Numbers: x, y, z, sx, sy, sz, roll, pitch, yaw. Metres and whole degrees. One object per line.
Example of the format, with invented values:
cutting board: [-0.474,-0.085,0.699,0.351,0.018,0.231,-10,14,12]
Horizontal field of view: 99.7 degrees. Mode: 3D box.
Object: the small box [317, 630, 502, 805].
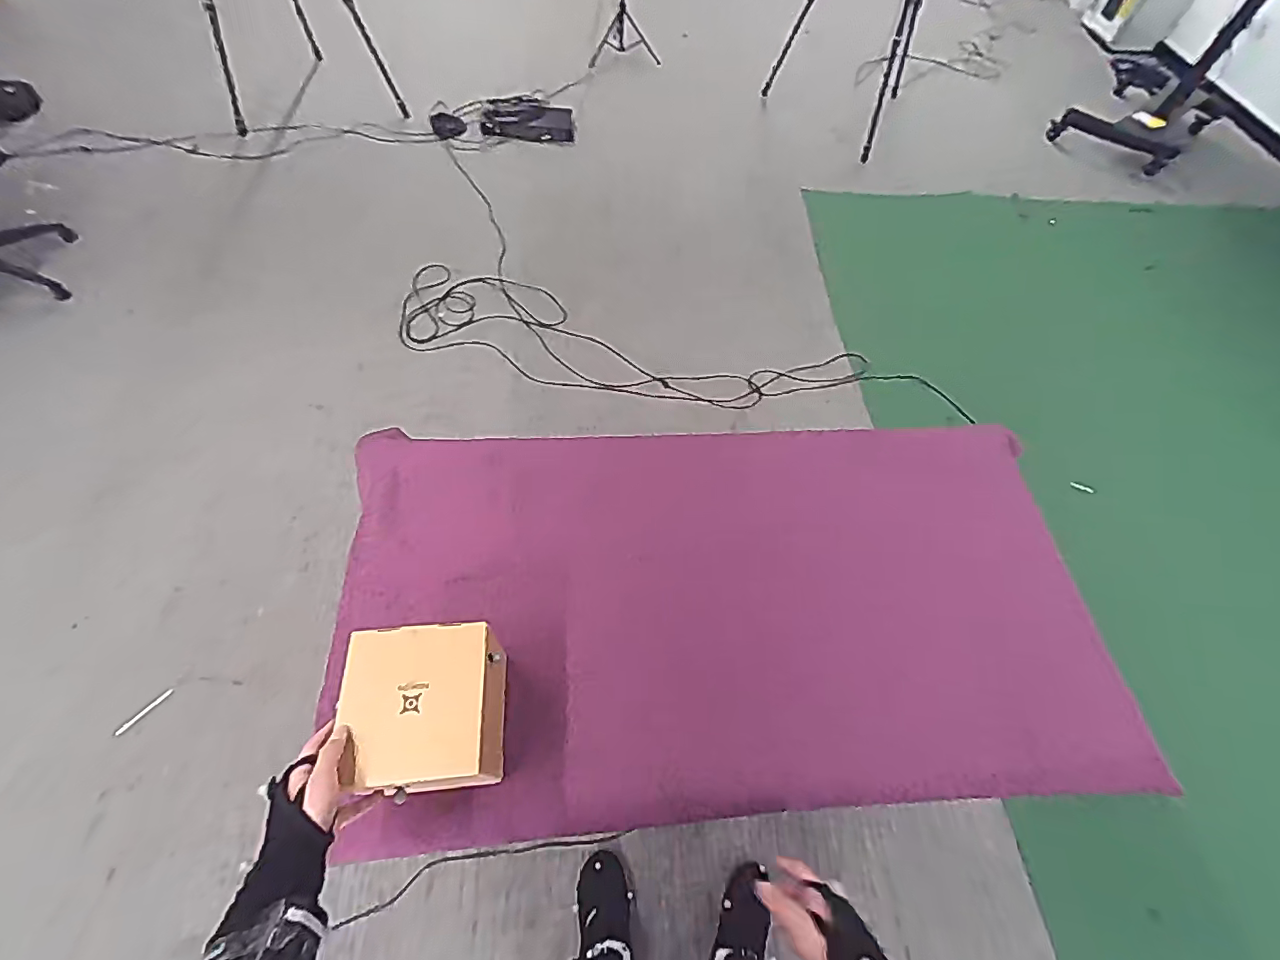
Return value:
small box: [-0.275,0.308,0.691,0.168,0.176,0.179,-3,57,-6]
